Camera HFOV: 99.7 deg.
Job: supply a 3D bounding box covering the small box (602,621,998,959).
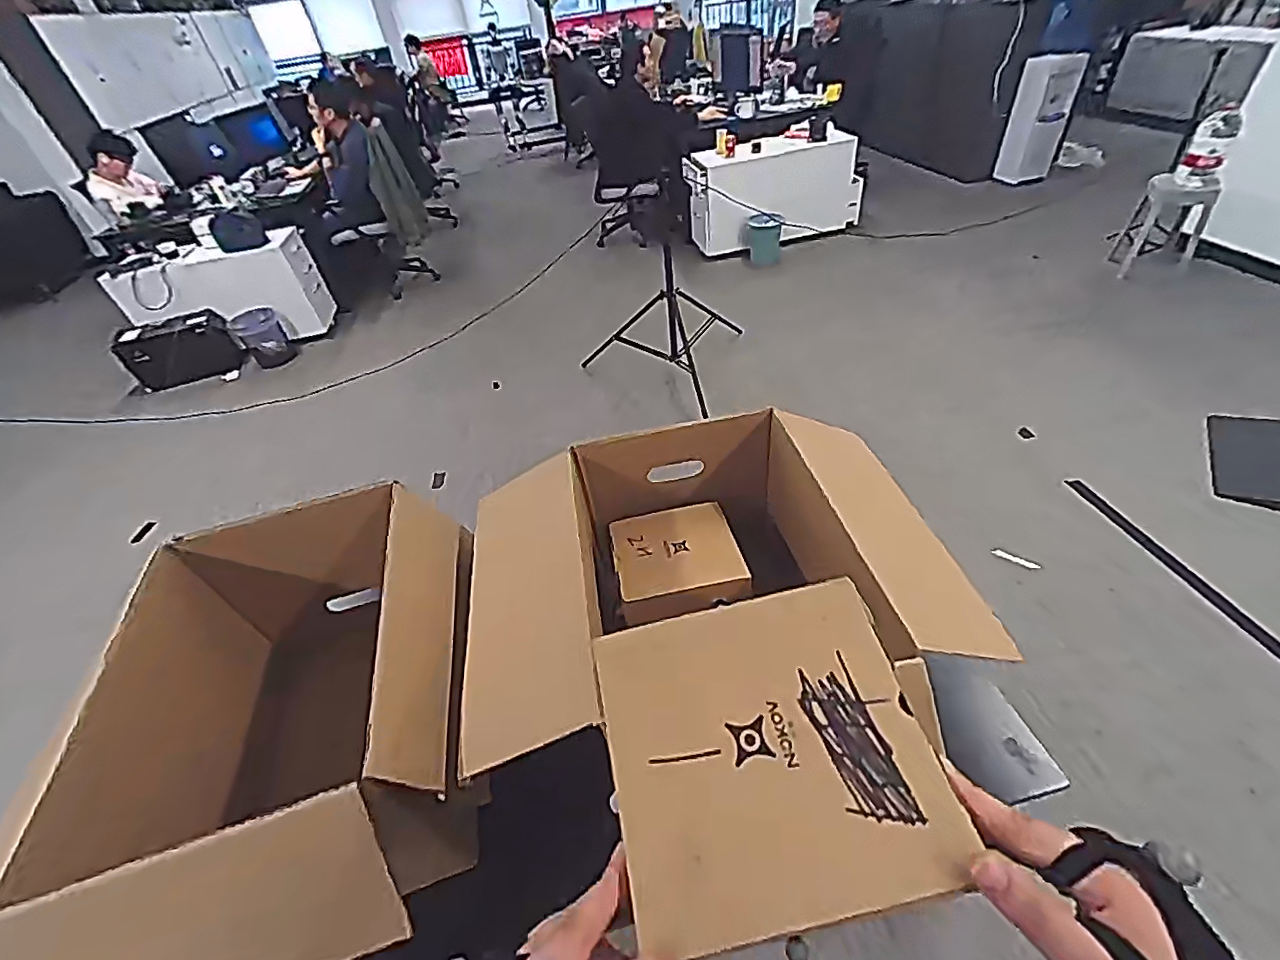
[{"bbox_3d":[0.081,0.219,0.365,0.179,0.176,0.168,-13,51,-2],"label":"small box"}]
